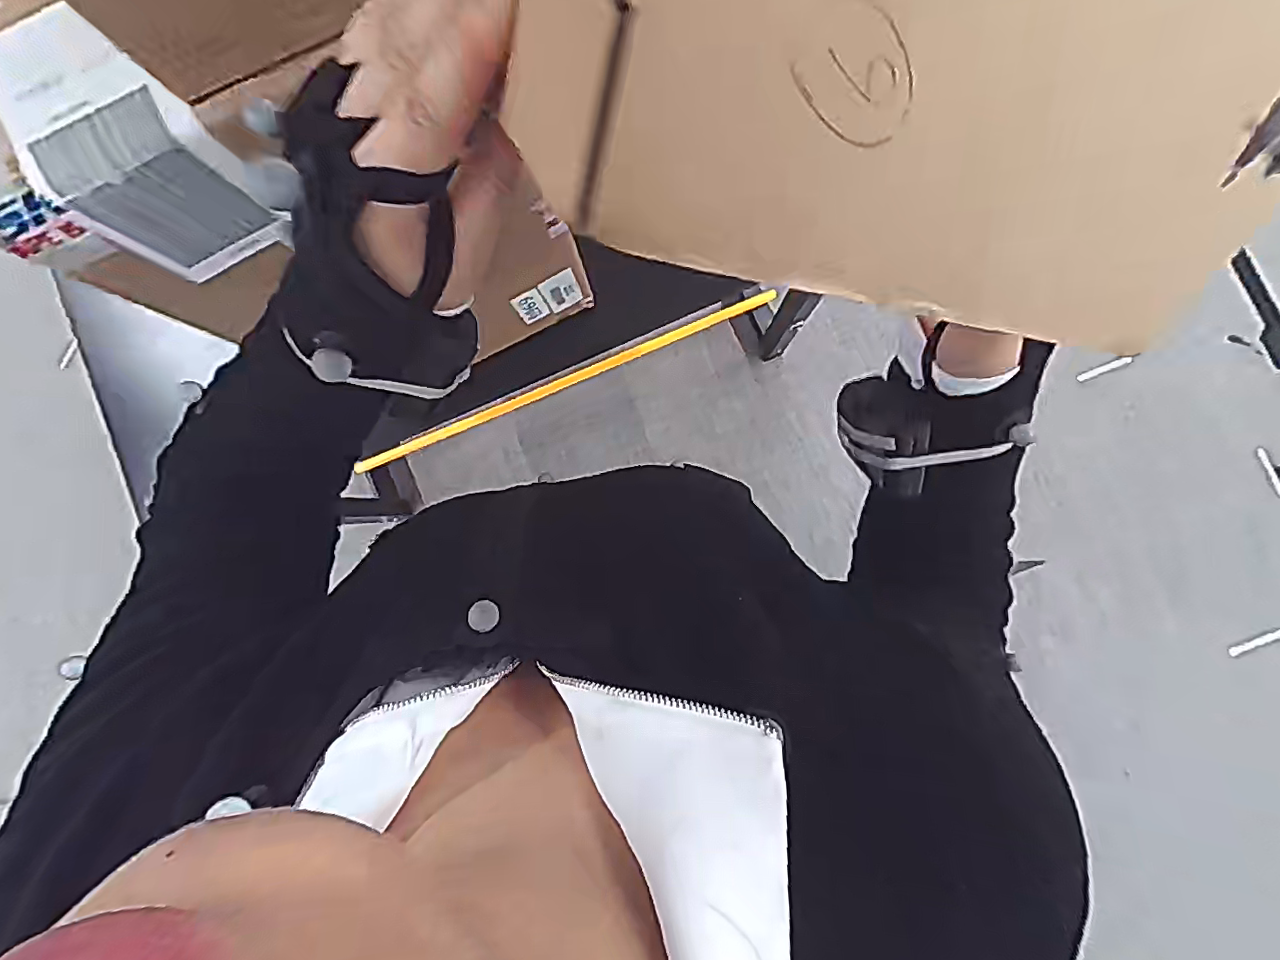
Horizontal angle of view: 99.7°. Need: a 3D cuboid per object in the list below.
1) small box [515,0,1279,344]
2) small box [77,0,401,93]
[{"bbox_3d":[0.070,-0.160,0.148,0.179,0.176,0.168,3,128,-24],"label":"small box"},{"bbox_3d":[-0.223,-0.335,0.243,0.179,0.176,0.168,-25,86,1],"label":"small box"}]
